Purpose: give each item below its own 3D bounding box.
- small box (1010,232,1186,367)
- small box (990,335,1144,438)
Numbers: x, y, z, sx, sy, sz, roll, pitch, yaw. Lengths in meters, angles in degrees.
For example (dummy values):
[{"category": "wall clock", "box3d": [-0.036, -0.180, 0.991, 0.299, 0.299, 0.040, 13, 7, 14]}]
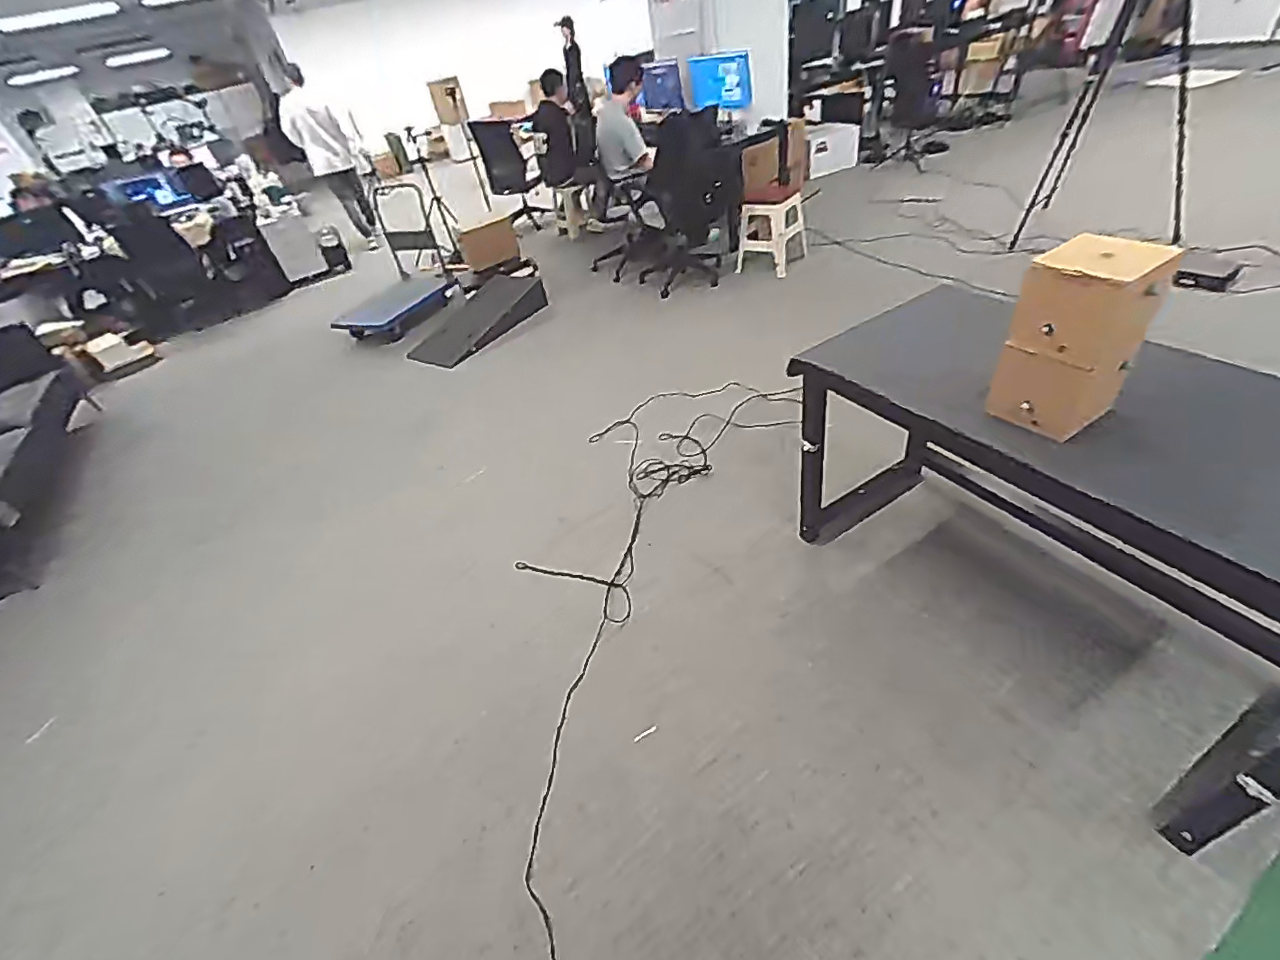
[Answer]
[{"category": "small box", "box3d": [0.835, -0.337, 1.006, 0.179, 0.176, 0.168, -28, 42, -18]}, {"category": "small box", "box3d": [0.861, -0.215, 1.110, 0.179, 0.176, 0.168, -28, 42, -18]}]
